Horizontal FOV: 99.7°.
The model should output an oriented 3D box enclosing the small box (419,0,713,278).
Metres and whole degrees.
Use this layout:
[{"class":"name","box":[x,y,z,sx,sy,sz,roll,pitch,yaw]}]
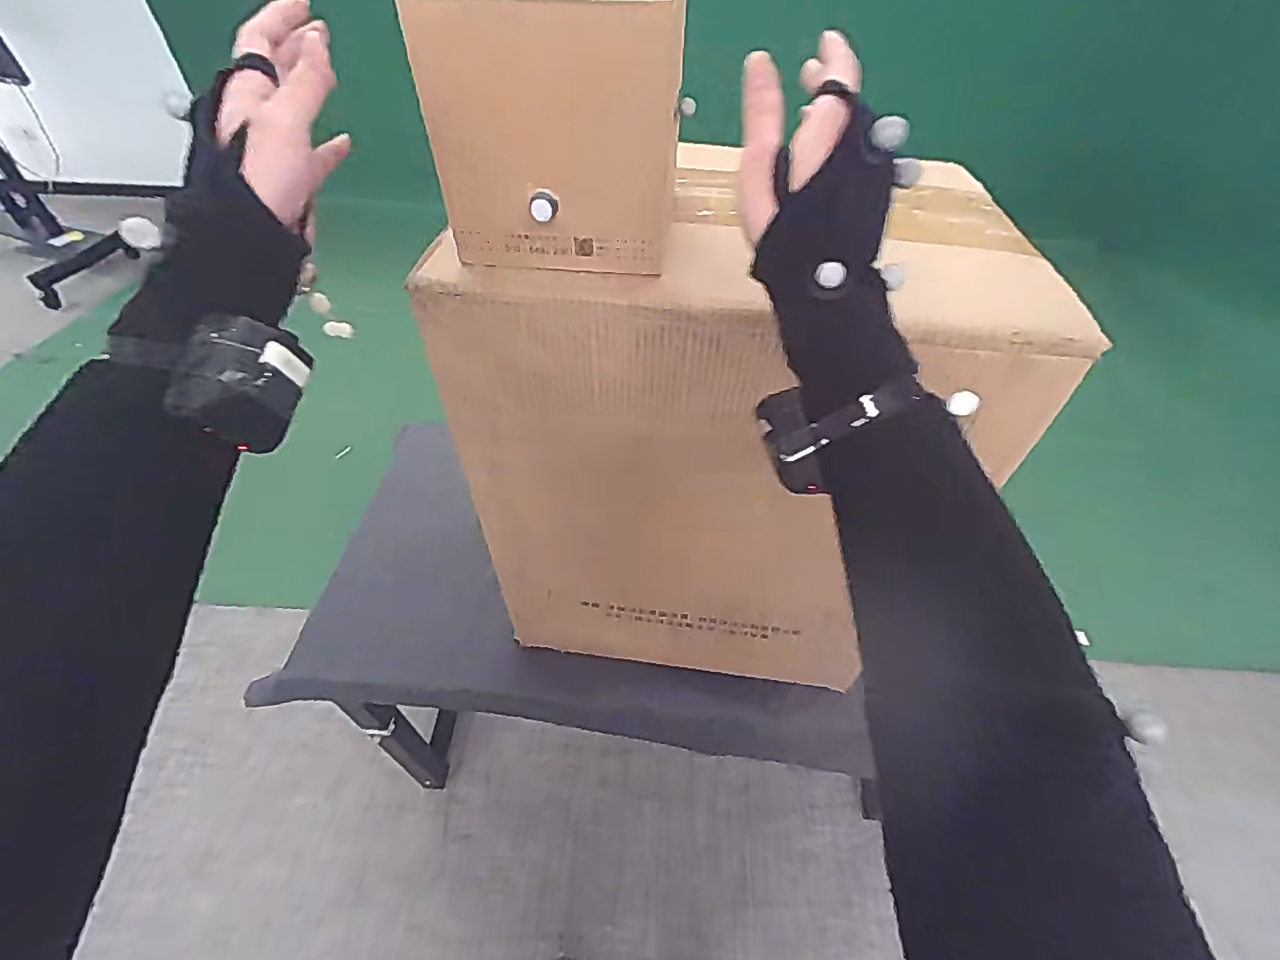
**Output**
[{"class":"small box","box":[-0.039,-0.280,0.412,0.168,0.176,0.179,7,50,5]}]
